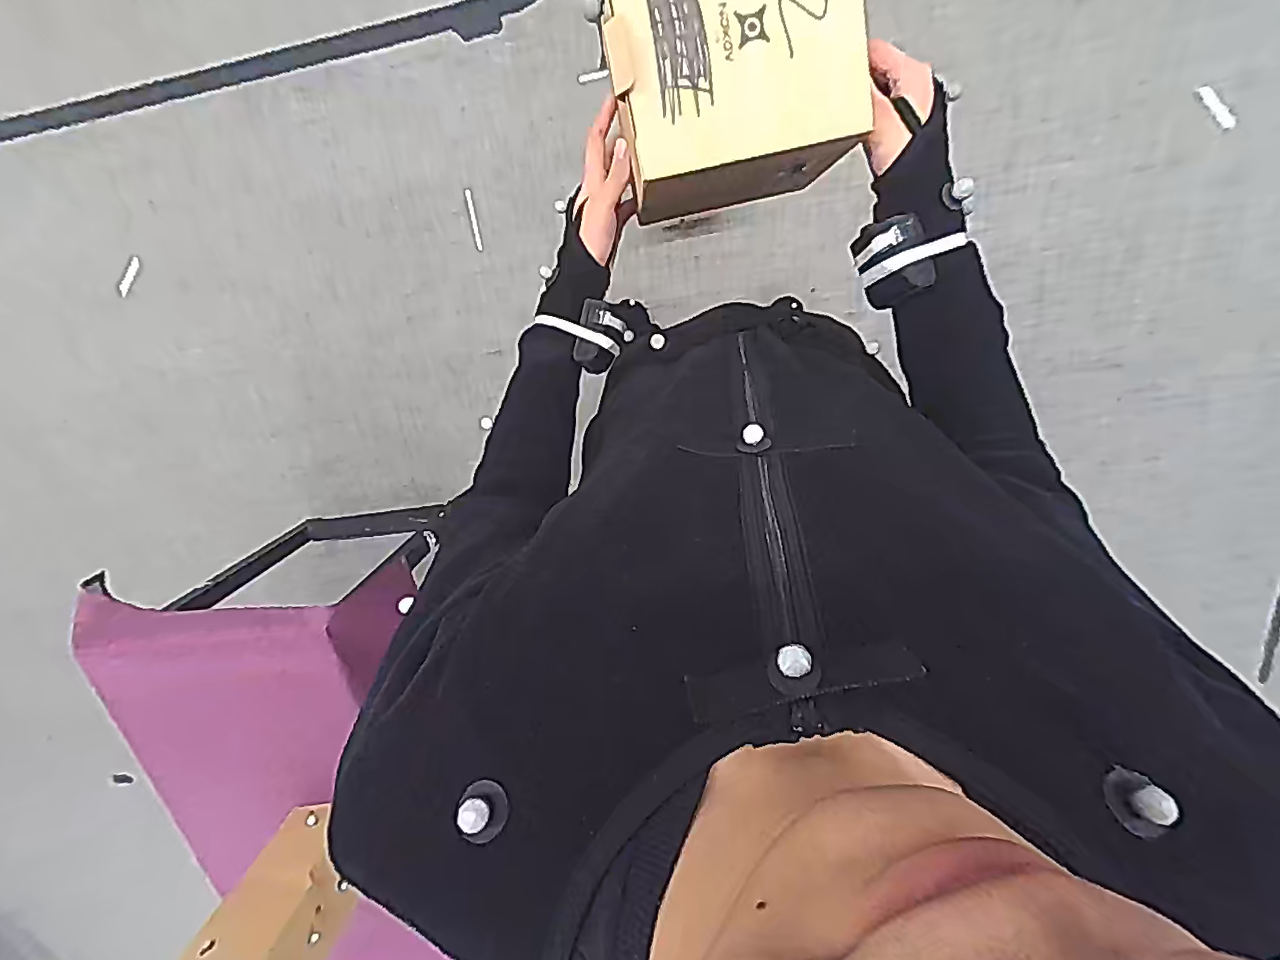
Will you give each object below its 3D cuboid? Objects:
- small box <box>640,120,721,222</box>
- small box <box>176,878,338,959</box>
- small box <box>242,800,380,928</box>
[{"bbox_3d":[0.103,-0.739,1.318,0.168,0.176,0.179,-10,109,9],"label":"small box"},{"bbox_3d":[-0.736,0.911,1.050,0.179,0.176,0.168,-5,110,7],"label":"small box"},{"bbox_3d":[-0.717,0.852,1.203,0.168,0.176,0.179,-11,108,9],"label":"small box"}]
